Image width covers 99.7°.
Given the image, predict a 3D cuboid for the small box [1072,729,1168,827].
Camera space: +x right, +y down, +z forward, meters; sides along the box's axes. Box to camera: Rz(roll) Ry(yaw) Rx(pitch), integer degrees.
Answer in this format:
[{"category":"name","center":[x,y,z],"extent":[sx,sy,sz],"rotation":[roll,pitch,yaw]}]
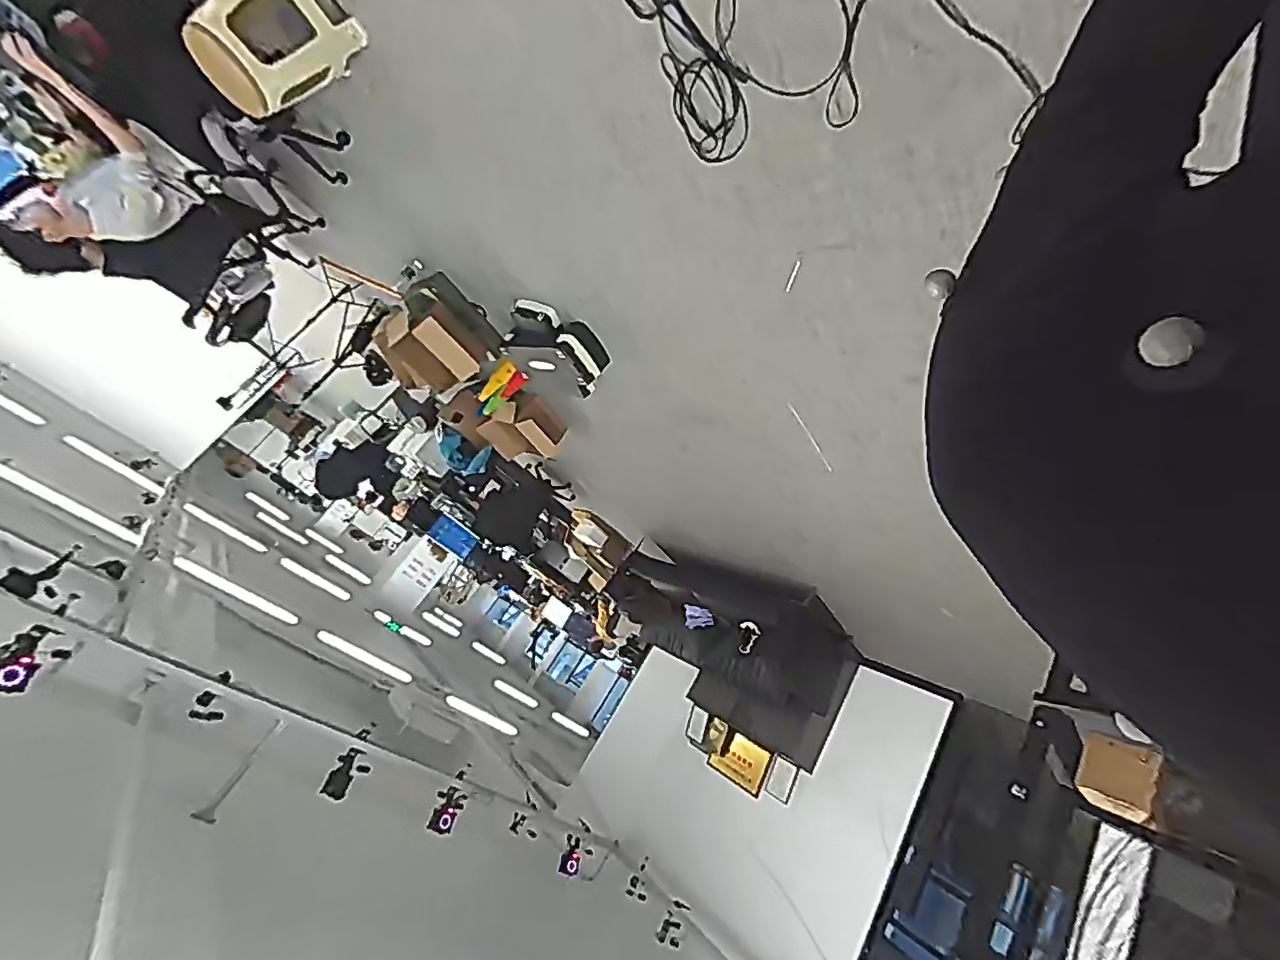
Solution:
[{"category":"small box","center":[1.397,0.856,1.572],"extent":[0.179,0.176,0.168],"rotation":[43,160,-28]}]
